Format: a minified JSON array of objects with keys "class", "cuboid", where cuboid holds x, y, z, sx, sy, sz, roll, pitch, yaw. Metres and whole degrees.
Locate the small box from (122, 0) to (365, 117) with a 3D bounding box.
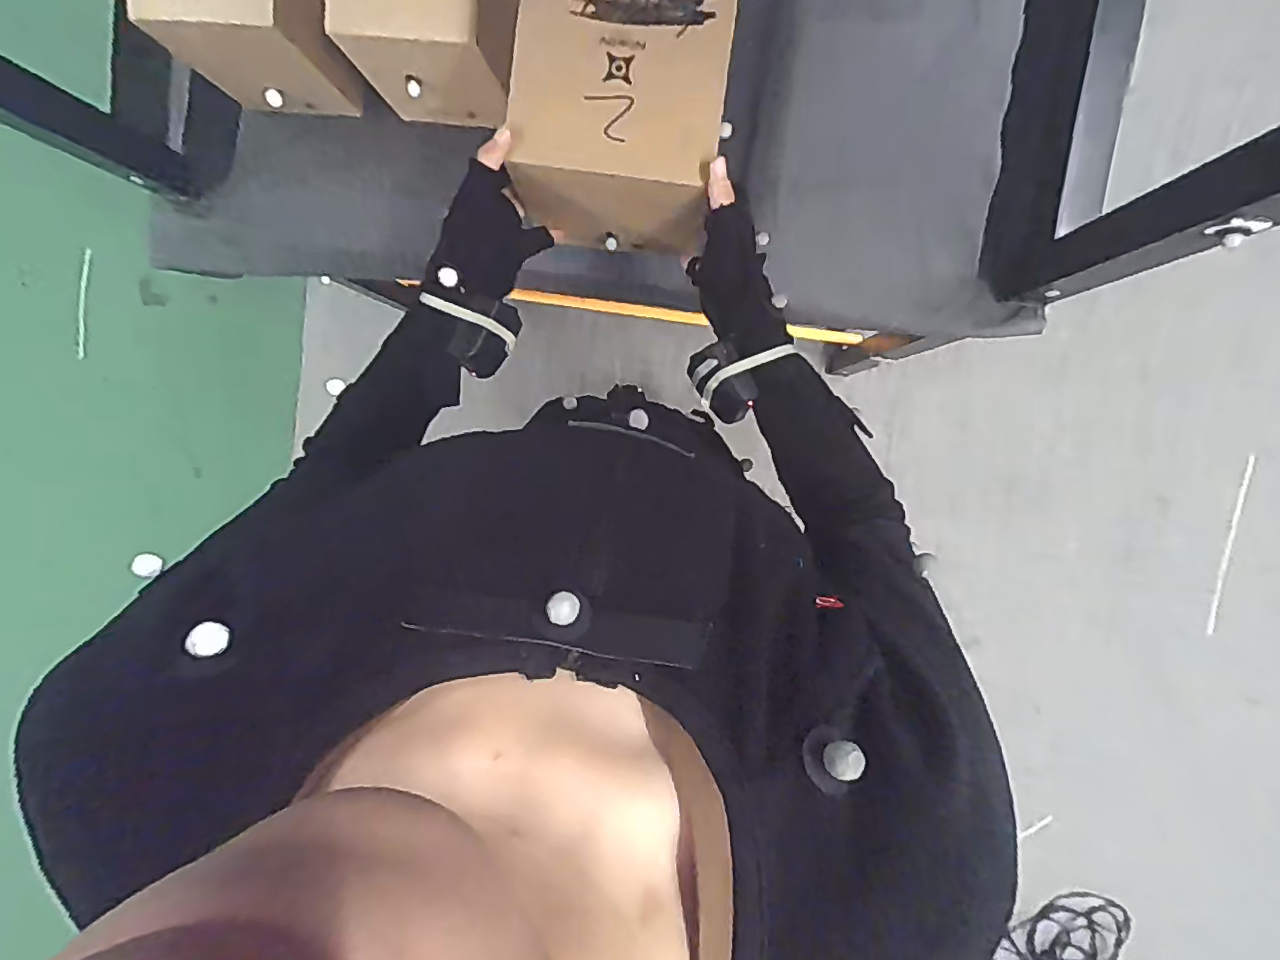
[{"class":"small box","cuboid":[-0.450,-0.574,0.639,0.168,0.176,0.179,6,96,3]}]
